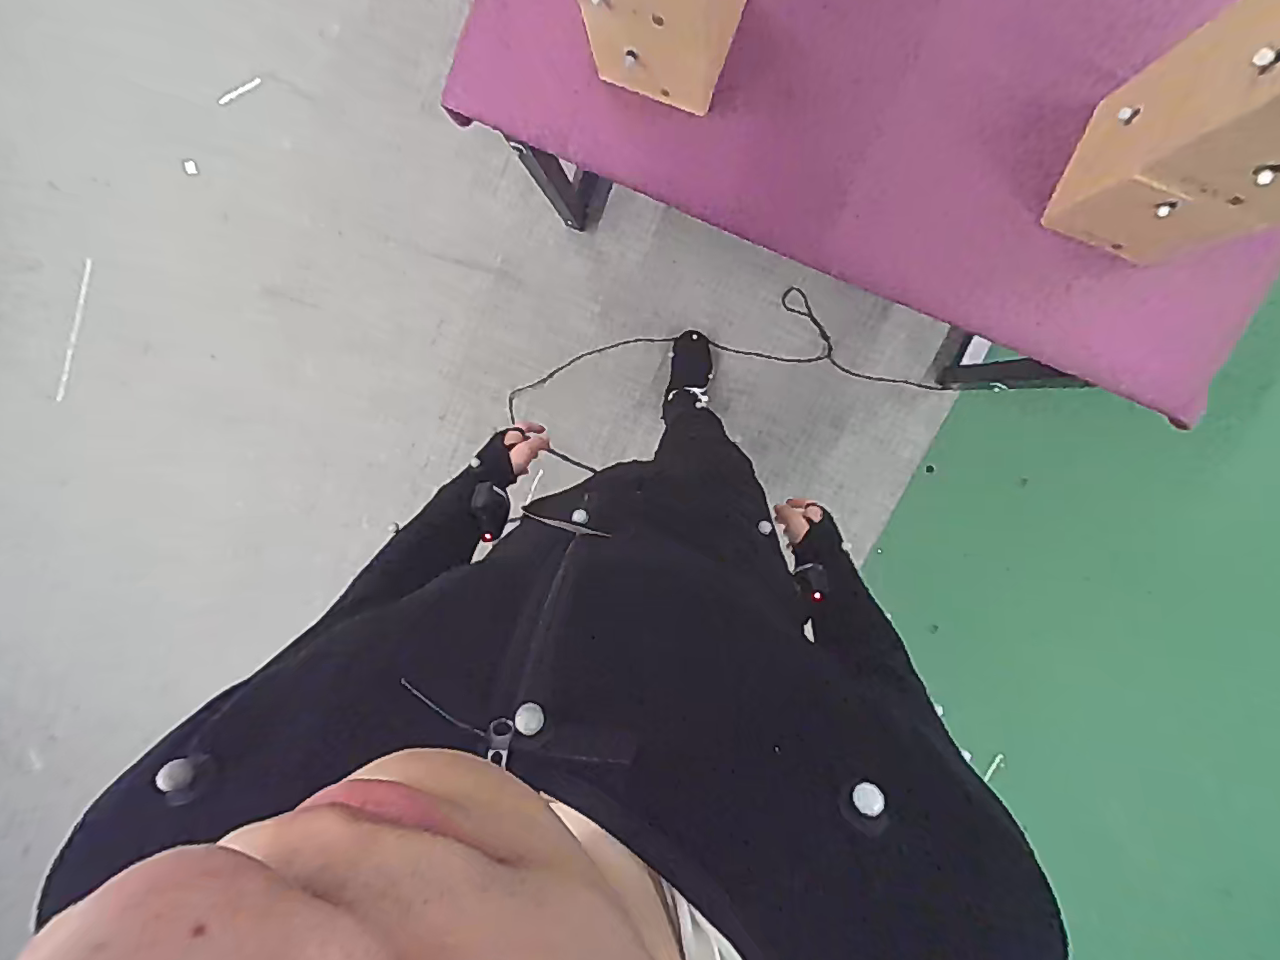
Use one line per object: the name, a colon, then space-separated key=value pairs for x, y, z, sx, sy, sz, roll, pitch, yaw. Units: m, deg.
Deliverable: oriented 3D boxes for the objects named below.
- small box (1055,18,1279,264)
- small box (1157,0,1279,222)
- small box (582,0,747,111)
small box: x=0.674 y=-0.399 z=0.671 sx=0.168 sy=0.176 sz=0.179 roll=23 pitch=99 yaw=3
small box: x=0.660 y=-0.377 z=0.509 sx=0.168 sy=0.176 sz=0.179 roll=24 pitch=99 yaw=1
small box: x=0.044 y=-0.623 z=0.694 sx=0.168 sy=0.176 sz=0.179 roll=21 pitch=100 yaw=2
